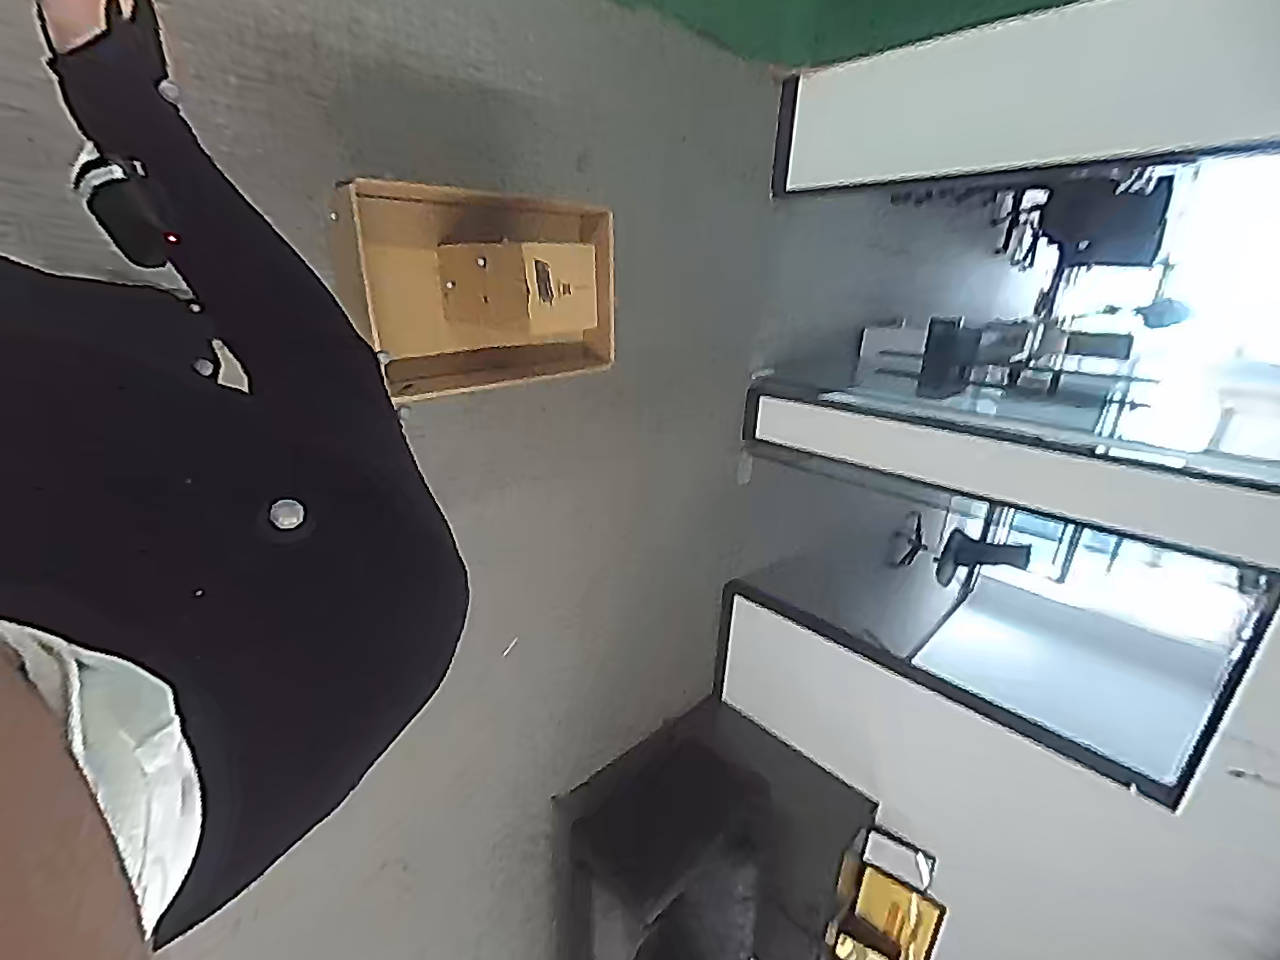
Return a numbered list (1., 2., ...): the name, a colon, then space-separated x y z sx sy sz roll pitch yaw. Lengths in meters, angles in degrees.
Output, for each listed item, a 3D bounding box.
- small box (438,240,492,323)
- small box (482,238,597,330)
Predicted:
1. small box: -0.328 -0.448 1.219 0.179 0.176 0.168 -19 119 -43
2. small box: -0.209 -0.405 1.114 0.179 0.176 0.168 -23 122 -42
